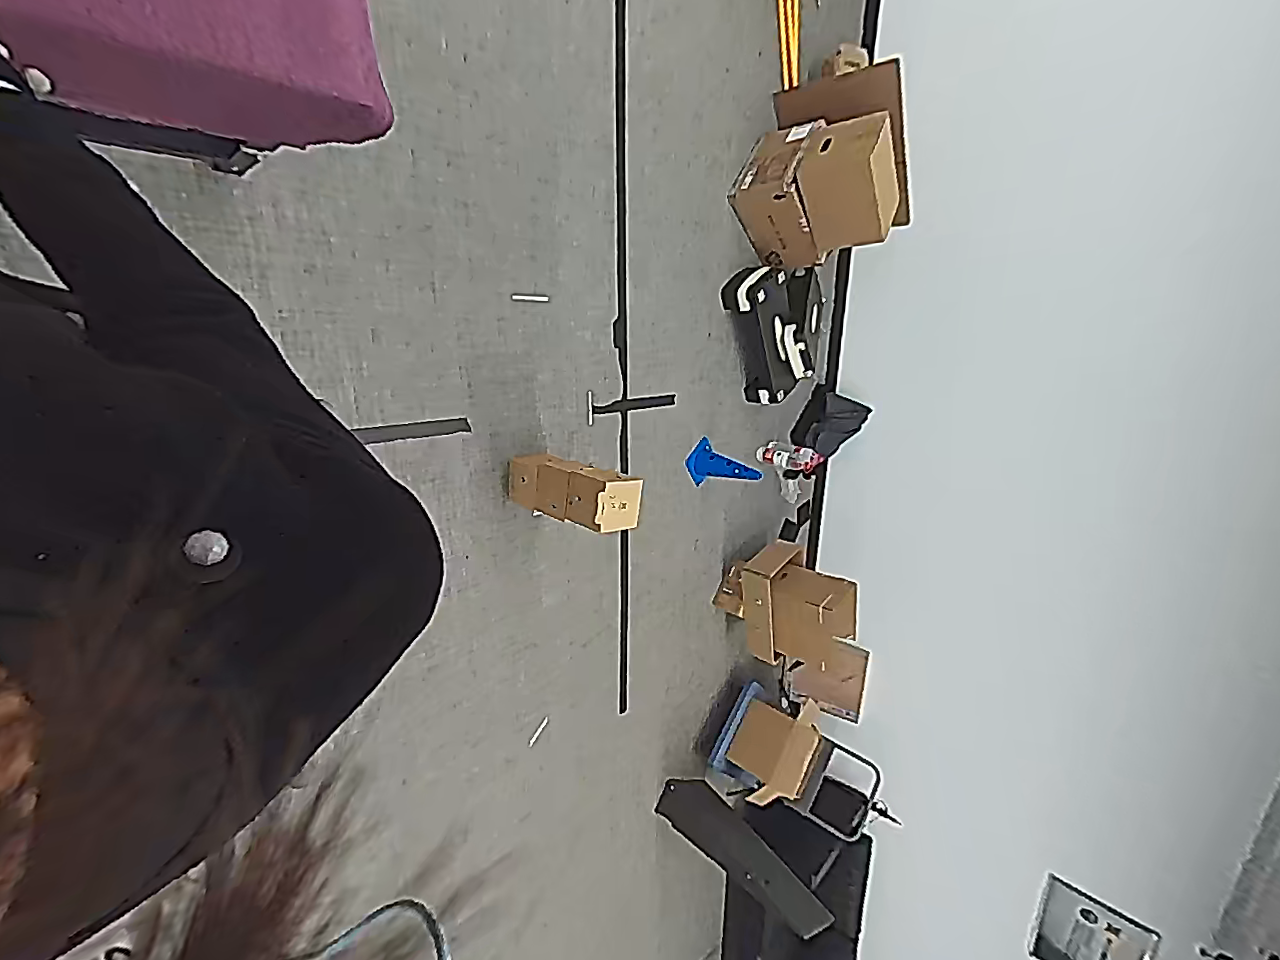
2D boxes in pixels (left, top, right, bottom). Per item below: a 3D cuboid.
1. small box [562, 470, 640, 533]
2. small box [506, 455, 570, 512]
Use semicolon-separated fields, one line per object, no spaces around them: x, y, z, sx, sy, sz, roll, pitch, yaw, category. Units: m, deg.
-0.129;0.064;1.773;0.179;0.176;0.168;-3;105;-47;small box
-0.378;0.008;1.983;0.179;0.176;0.168;-11;110;-46;small box
